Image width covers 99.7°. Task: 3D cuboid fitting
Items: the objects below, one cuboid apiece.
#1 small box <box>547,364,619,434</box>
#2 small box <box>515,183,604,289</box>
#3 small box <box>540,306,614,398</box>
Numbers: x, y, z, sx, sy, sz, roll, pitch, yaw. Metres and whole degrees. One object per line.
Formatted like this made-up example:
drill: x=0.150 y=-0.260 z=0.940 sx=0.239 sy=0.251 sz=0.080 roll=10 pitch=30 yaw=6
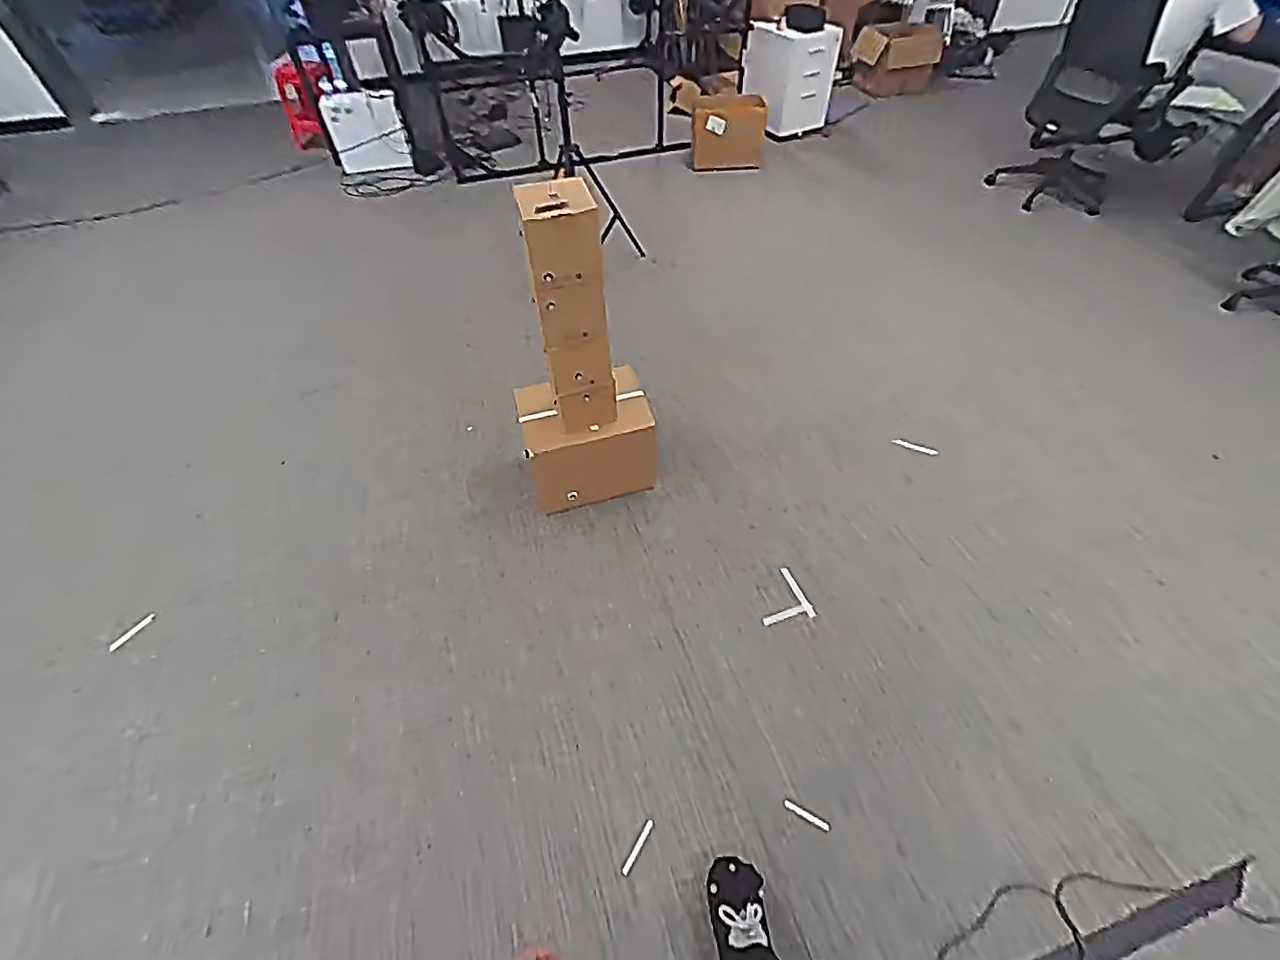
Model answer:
small box: x=-0.171 y=-0.264 z=1.655 sx=0.179 sy=0.176 sz=0.168 roll=-15 pitch=53 yaw=-12
small box: x=-0.184 y=-0.564 z=1.267 sx=0.168 sy=0.176 sz=0.179 roll=-13 pitch=52 yaw=-9
small box: x=-0.177 y=-0.360 z=1.524 sx=0.168 sy=0.176 sz=0.179 roll=-15 pitch=53 yaw=-10
